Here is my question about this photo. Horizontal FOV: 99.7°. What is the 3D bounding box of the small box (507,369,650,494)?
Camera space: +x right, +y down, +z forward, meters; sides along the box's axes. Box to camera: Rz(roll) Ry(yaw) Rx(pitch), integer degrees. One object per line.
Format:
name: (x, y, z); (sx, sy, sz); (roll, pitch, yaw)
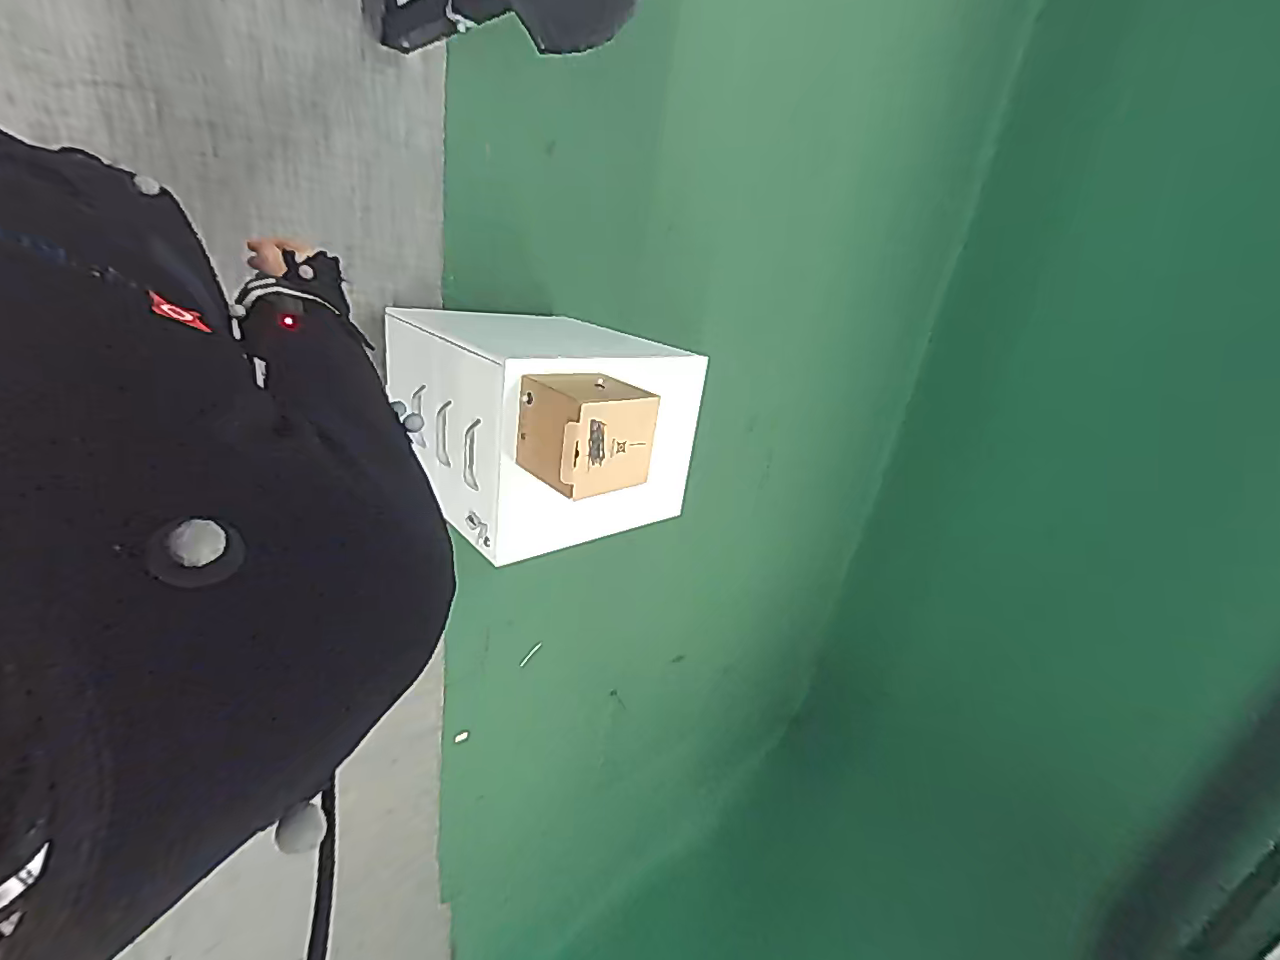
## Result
small box: (-0.112, -0.092, 0.939); (0.179, 0.176, 0.168); (-13, 121, -44)
